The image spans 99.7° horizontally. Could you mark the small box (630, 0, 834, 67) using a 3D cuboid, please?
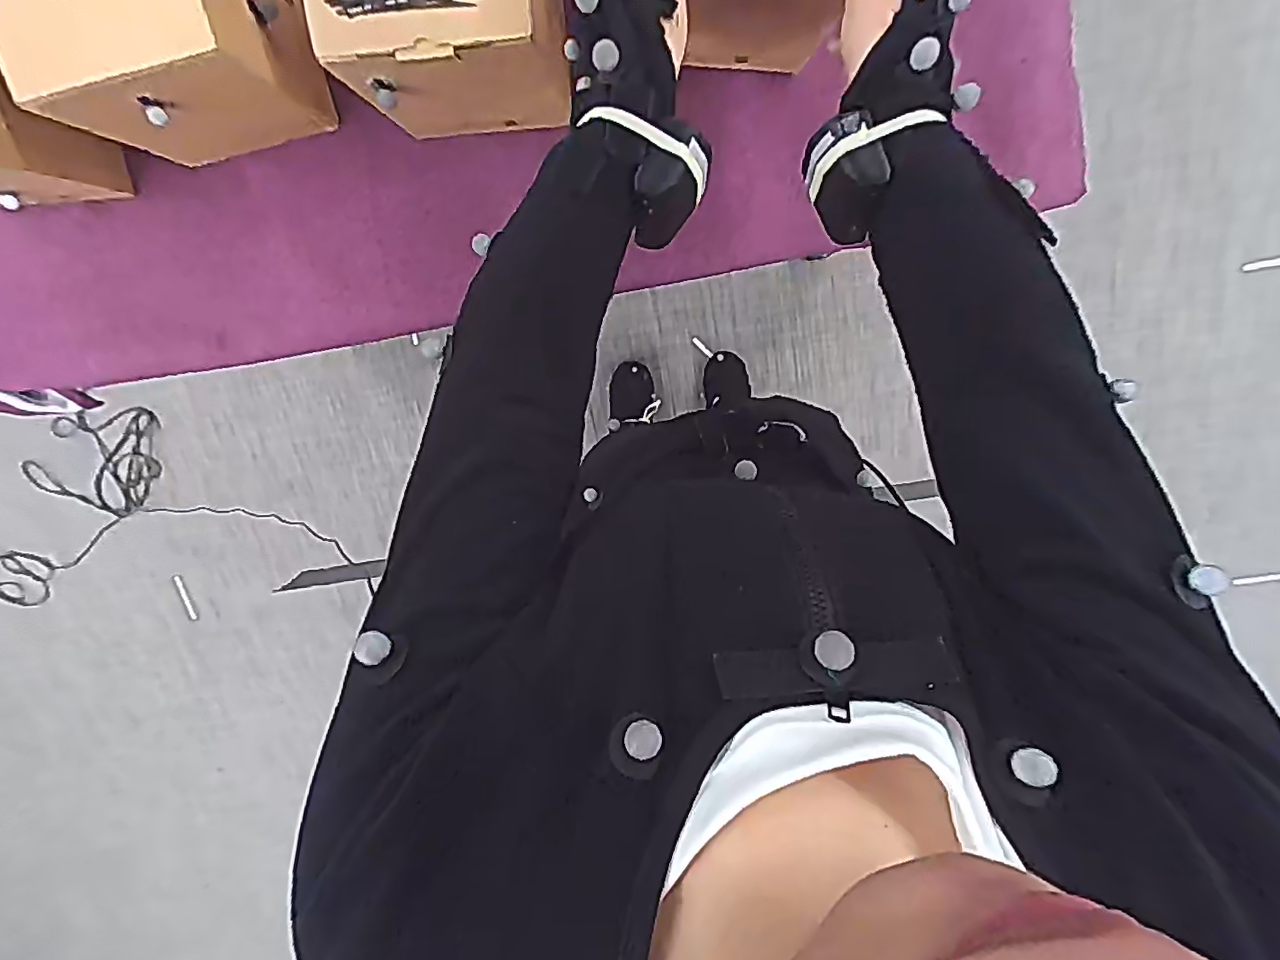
[{"bbox_3d":[0.078,-0.459,0.420,0.168,0.176,0.179,1,104,-3],"label":"small box"}]
